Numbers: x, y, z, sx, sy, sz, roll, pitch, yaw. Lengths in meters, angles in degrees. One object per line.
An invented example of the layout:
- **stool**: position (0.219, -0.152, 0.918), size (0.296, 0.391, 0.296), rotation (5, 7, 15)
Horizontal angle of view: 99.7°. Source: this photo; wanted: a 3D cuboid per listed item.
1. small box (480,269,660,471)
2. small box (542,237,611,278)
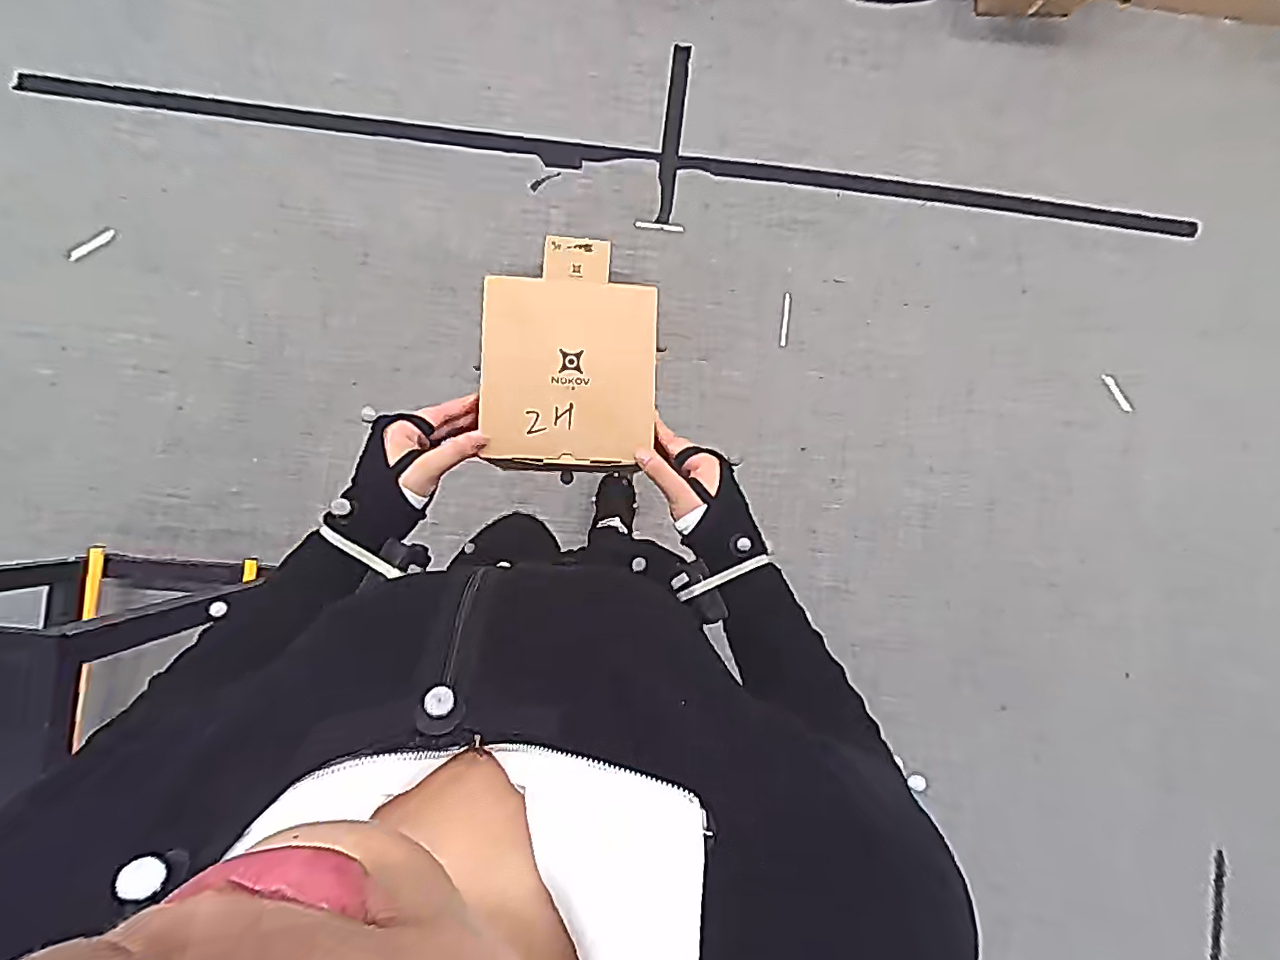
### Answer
- **small box**: position (-0.074, -0.105, 0.589), size (0.168, 0.176, 0.179), rotation (1, 88, -7)
- **small box**: position (-0.166, -0.511, 1.427), size (0.168, 0.176, 0.179), rotation (5, 89, -3)
